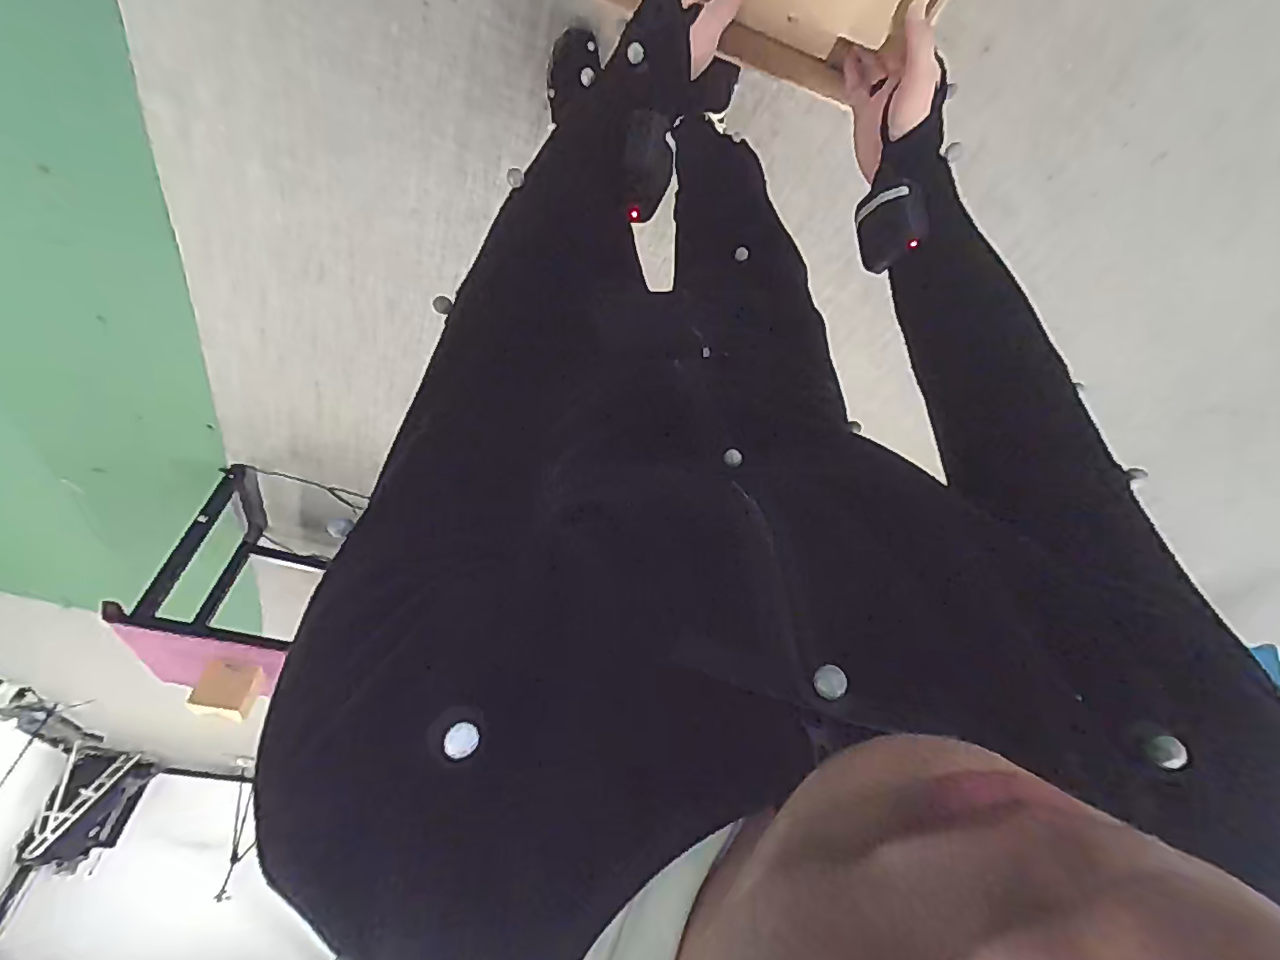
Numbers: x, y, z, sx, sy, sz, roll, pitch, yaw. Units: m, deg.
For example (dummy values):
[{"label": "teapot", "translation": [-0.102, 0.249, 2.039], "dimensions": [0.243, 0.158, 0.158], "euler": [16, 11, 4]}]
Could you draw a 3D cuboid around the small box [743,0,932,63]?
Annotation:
[{"label": "small box", "translation": [0.183, -0.504, 0.455], "dimensions": [0.168, 0.176, 0.179], "euler": [13, 140, -11]}]
